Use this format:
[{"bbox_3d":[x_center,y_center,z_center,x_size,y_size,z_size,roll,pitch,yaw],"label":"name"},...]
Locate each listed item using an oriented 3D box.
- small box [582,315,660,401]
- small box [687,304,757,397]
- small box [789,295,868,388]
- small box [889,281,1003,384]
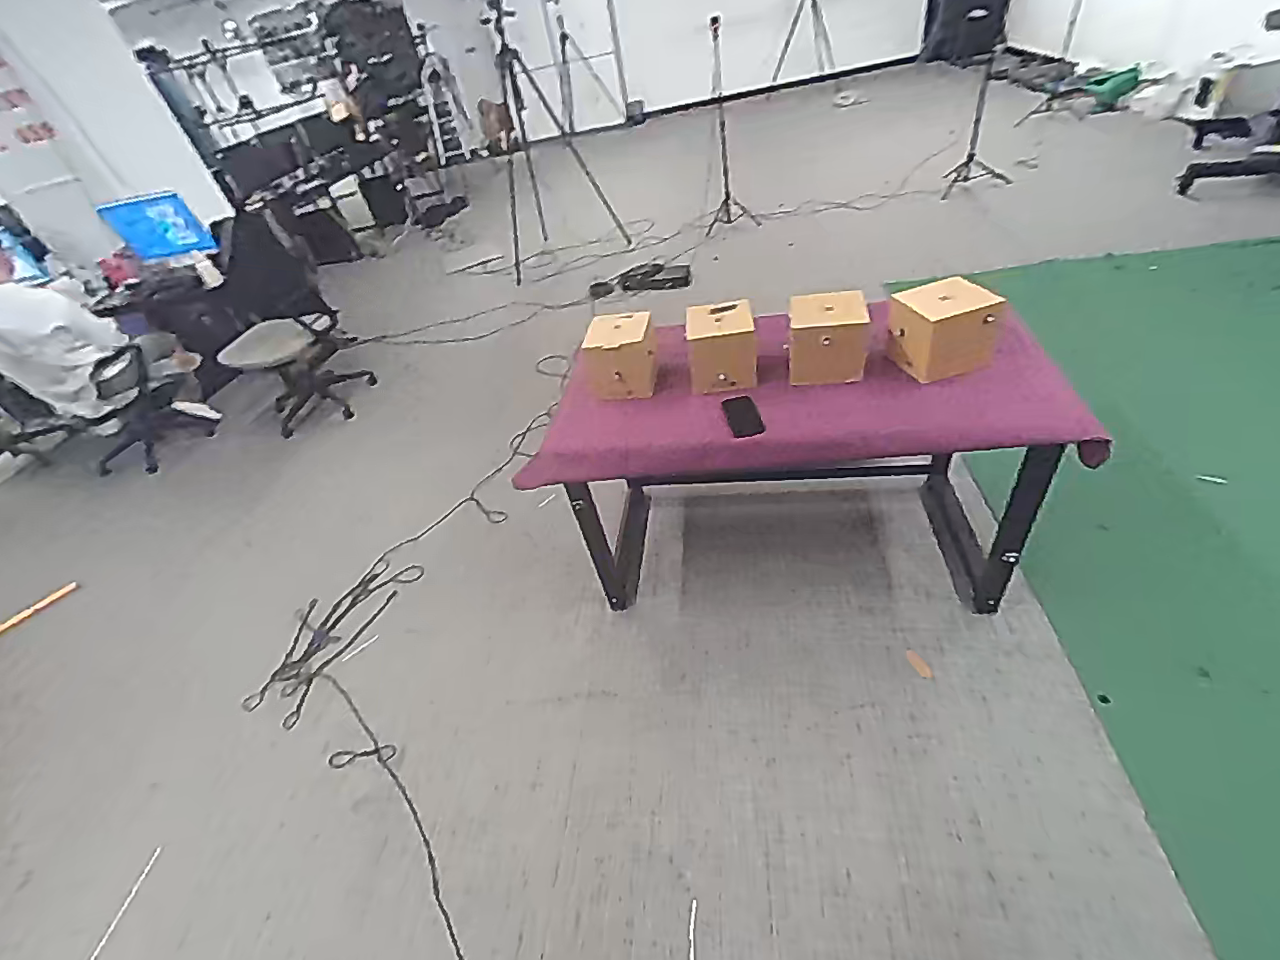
[{"bbox_3d":[-0.044,-0.329,1.488,0.168,0.176,0.179,-2,43,14],"label":"small box"},{"bbox_3d":[0.217,-0.341,1.427,0.168,0.176,0.179,-6,42,10],"label":"small box"},{"bbox_3d":[0.468,-0.345,1.361,0.179,0.176,0.168,0,43,16],"label":"small box"},{"bbox_3d":[0.718,-0.351,1.295,0.179,0.176,0.168,-16,40,-3],"label":"small box"}]
